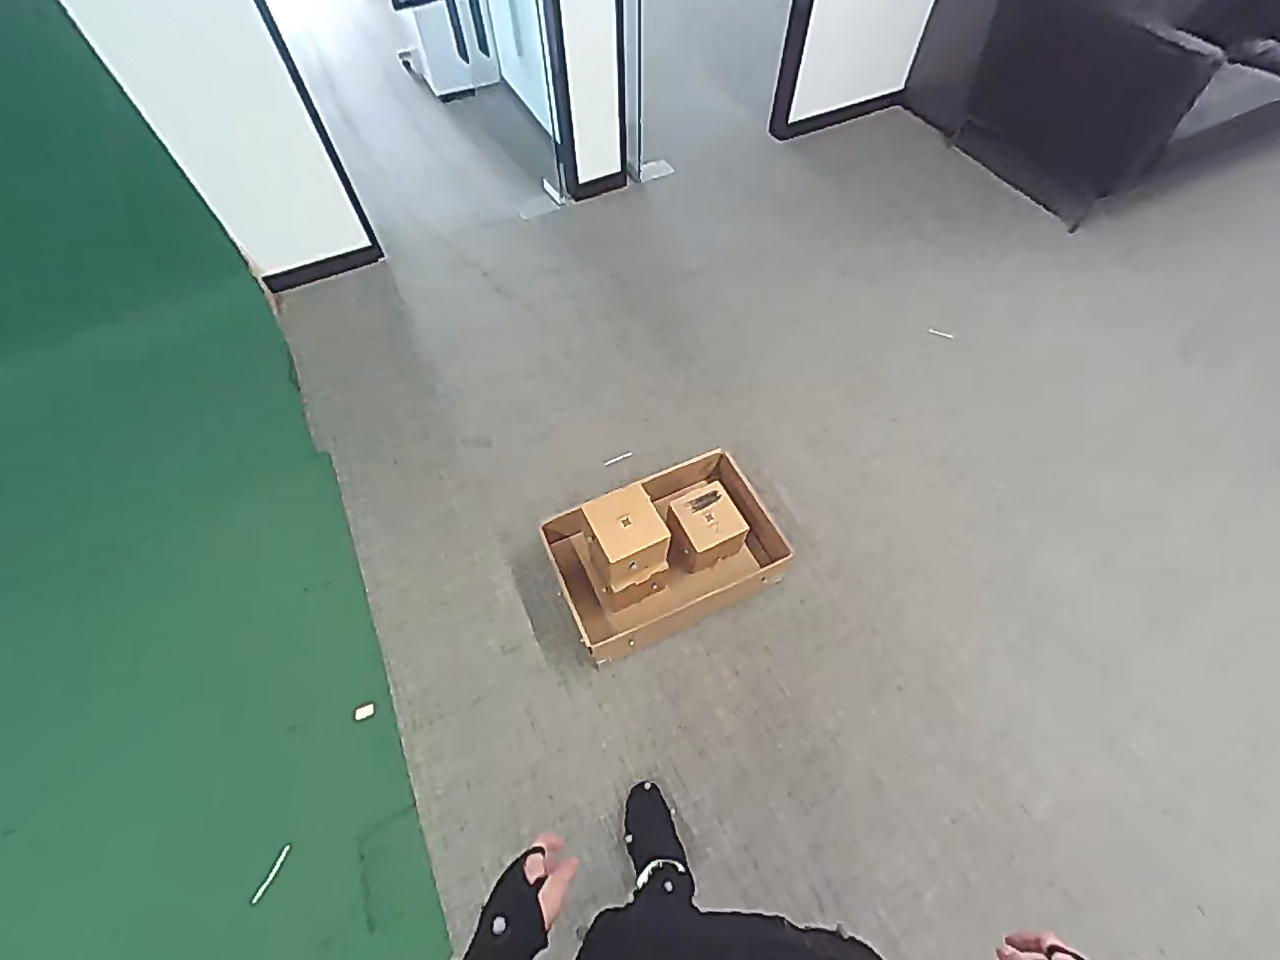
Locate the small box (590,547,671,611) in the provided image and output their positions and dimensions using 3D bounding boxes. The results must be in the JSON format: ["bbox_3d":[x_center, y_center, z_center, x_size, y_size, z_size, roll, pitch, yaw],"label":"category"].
[{"bbox_3d":[-0.027,0.250,1.518,0.168,0.176,0.179,-22,60,-15],"label":"small box"}]

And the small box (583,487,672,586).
[{"bbox_3d":[-0.033,0.154,1.388,0.168,0.176,0.179,-23,61,-15],"label":"small box"}]
